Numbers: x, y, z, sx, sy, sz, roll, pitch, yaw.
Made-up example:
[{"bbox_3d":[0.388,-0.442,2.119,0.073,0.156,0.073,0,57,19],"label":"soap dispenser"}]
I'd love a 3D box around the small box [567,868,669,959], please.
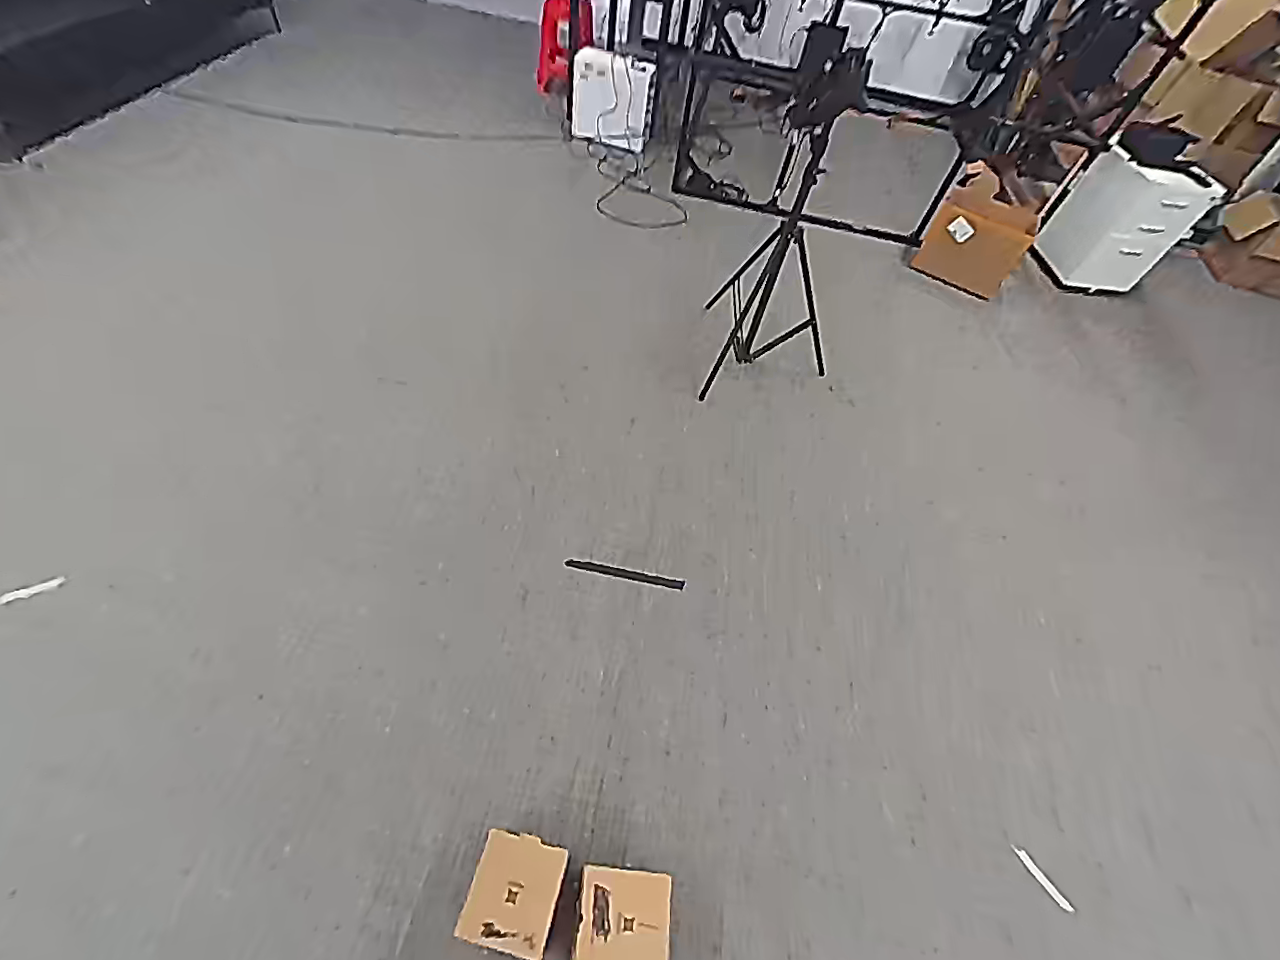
[{"bbox_3d":[-0.046,0.890,1.080,0.179,0.176,0.168,10,52,-3],"label":"small box"}]

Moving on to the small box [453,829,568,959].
[{"bbox_3d":[-0.254,0.834,1.087,0.168,0.176,0.179,15,52,3],"label":"small box"}]
